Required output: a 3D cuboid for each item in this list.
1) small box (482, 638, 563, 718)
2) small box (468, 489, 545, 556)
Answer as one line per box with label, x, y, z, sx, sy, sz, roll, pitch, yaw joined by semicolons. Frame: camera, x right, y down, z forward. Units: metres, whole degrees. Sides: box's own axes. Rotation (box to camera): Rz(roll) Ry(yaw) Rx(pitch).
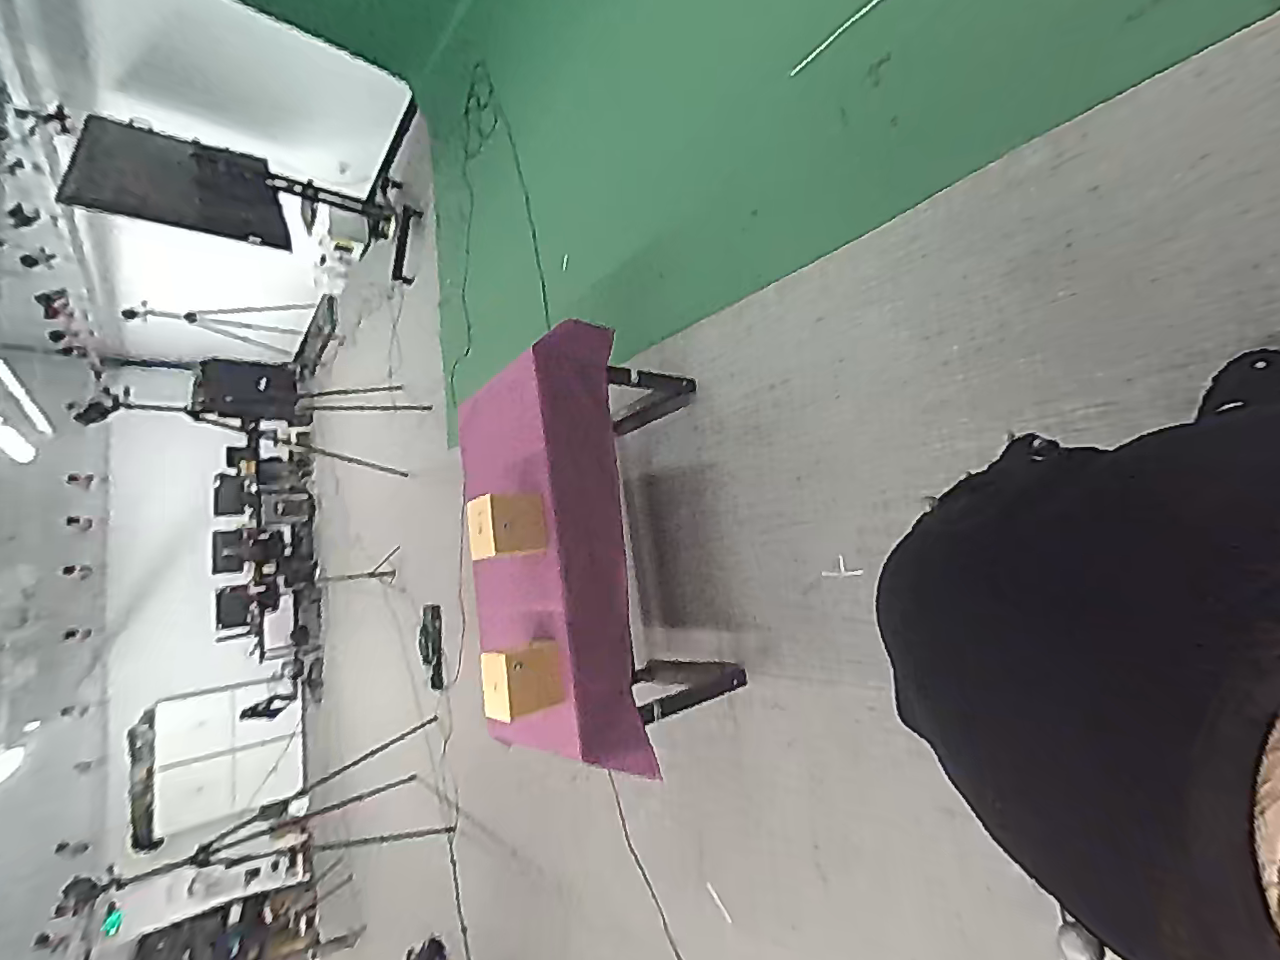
small box;-0.334;0.559;1.545;0.168;0.176;0.179;-19;75;48
small box;-0.395;0.126;1.608;0.168;0.176;0.179;-16;79;48
